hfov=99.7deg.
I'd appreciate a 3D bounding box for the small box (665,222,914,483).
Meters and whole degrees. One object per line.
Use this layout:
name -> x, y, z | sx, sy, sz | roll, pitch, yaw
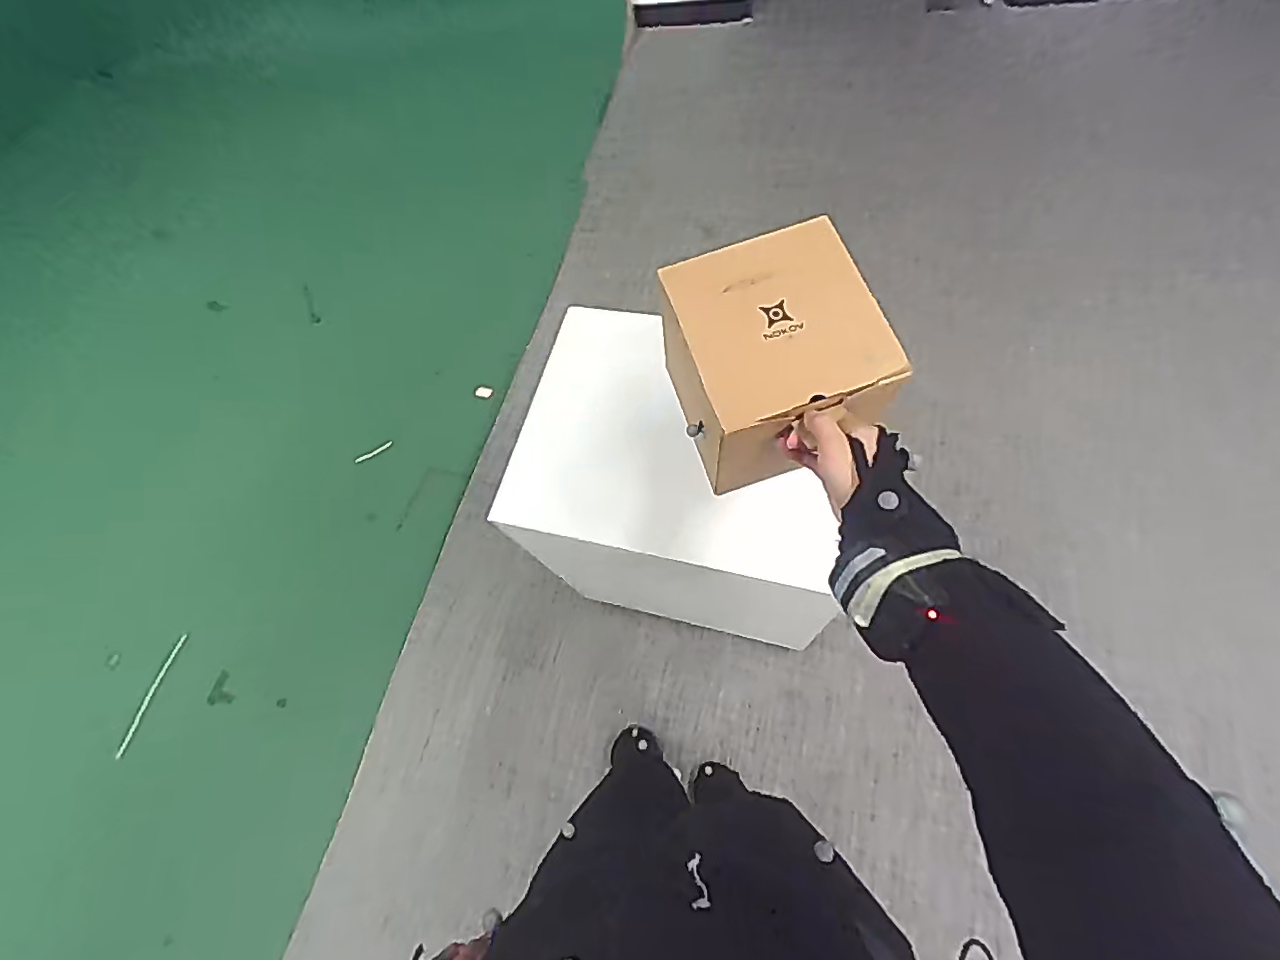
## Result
small box -> 0.131, -0.110, 0.541 | 0.168, 0.176, 0.179 | -17, 69, -1
